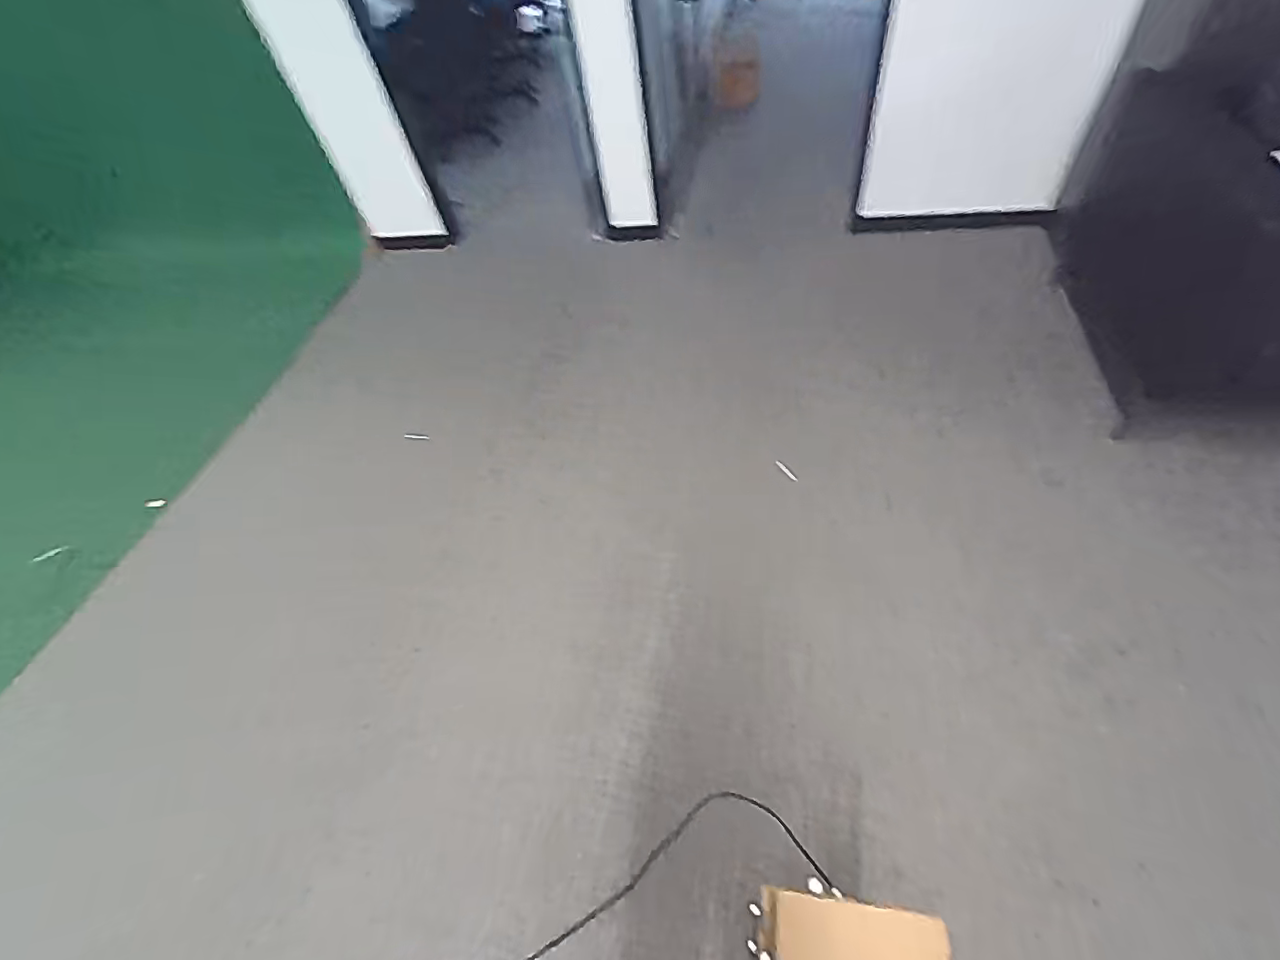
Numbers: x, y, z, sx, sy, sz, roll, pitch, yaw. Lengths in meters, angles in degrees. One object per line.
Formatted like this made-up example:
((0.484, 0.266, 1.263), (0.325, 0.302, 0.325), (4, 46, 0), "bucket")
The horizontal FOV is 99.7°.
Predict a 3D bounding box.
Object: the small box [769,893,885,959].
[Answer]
((0.297, 0.779, 0.863), (0.179, 0.176, 0.168), (1, 52, 12), "small box")

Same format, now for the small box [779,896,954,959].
((0.245, 0.586, 0.602), (0.179, 0.176, 0.168), (1, 52, 13), "small box")
